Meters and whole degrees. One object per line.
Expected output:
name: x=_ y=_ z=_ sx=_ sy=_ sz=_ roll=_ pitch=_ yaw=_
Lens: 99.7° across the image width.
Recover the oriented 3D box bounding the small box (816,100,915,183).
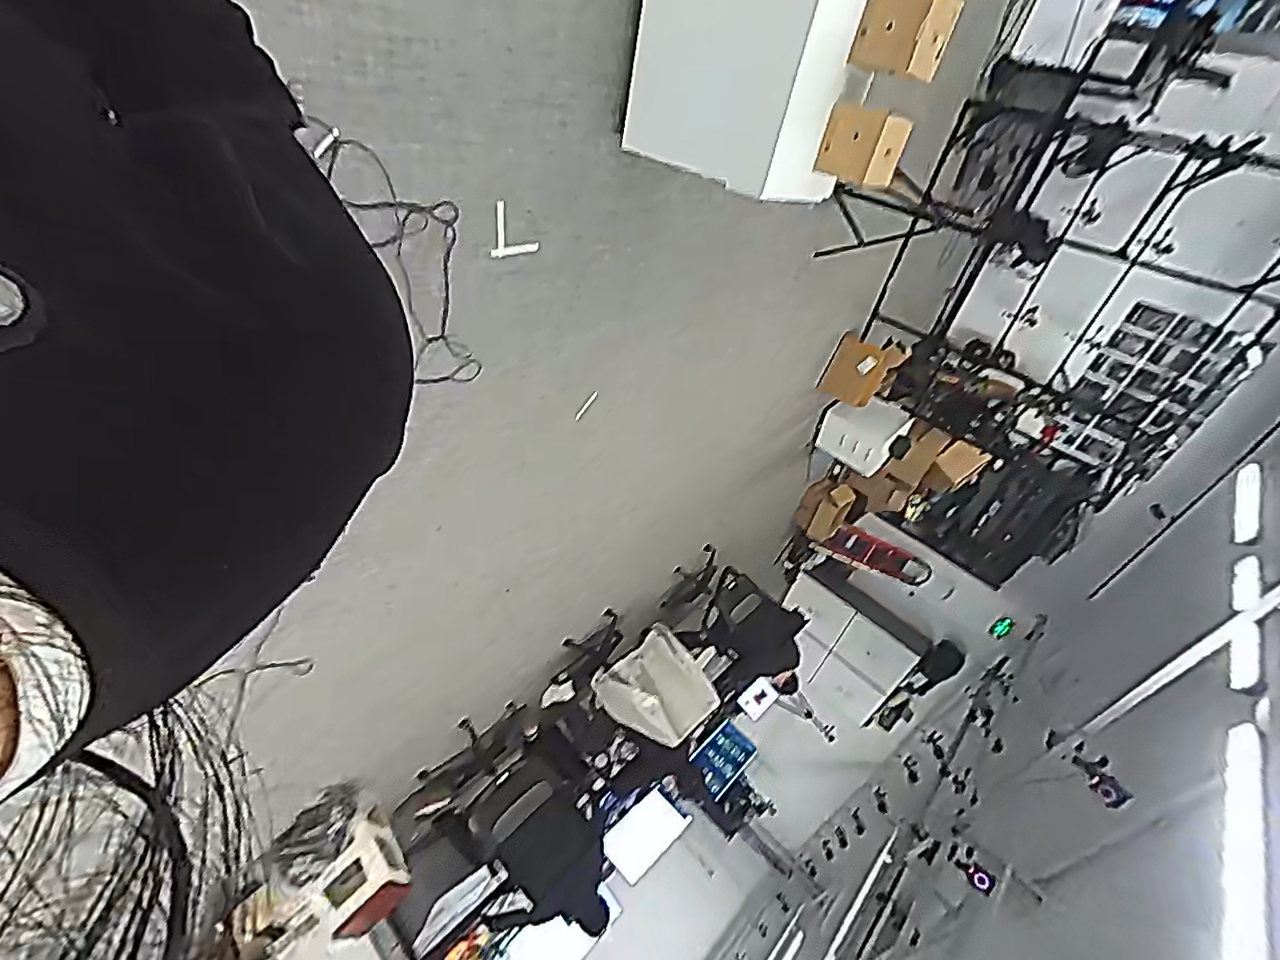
small box: x=0.625 y=-0.947 z=1.516 sx=0.179 sy=0.176 sz=0.168 roll=-25 pitch=141 yaw=-40

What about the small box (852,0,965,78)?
small box: x=0.670 y=-1.141 z=1.362 sx=0.179 sy=0.176 sz=0.168 roll=-24 pitch=141 yaw=-39
